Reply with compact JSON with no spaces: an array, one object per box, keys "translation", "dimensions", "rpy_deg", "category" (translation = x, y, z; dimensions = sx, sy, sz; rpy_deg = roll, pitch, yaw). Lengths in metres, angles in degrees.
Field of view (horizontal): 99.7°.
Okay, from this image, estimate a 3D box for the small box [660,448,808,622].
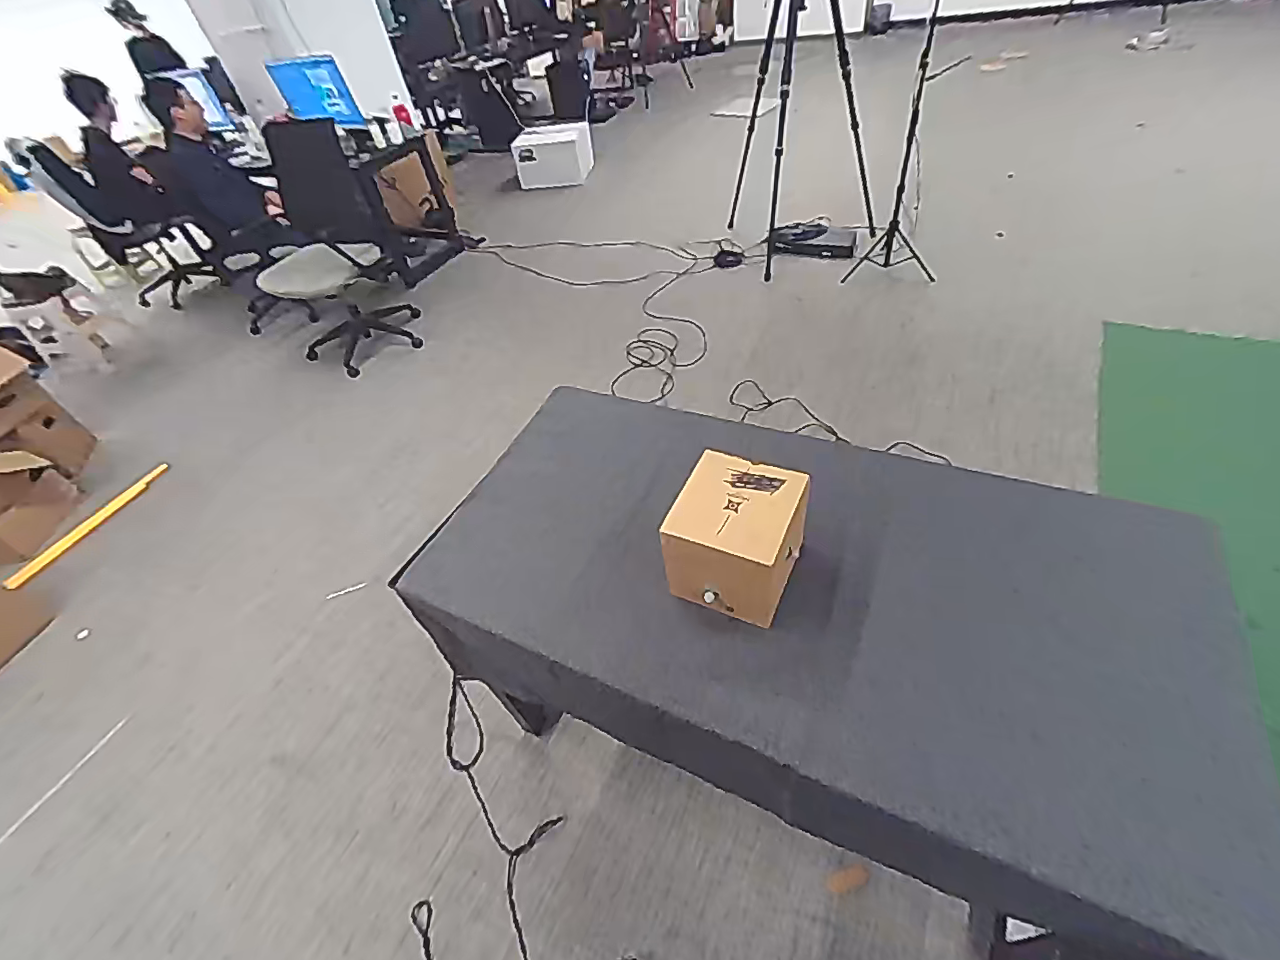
[{"translation":[0.146,0.082,0.829],"dimensions":[0.168,0.176,0.179],"rpy_deg":[16,51,24],"category":"small box"}]
